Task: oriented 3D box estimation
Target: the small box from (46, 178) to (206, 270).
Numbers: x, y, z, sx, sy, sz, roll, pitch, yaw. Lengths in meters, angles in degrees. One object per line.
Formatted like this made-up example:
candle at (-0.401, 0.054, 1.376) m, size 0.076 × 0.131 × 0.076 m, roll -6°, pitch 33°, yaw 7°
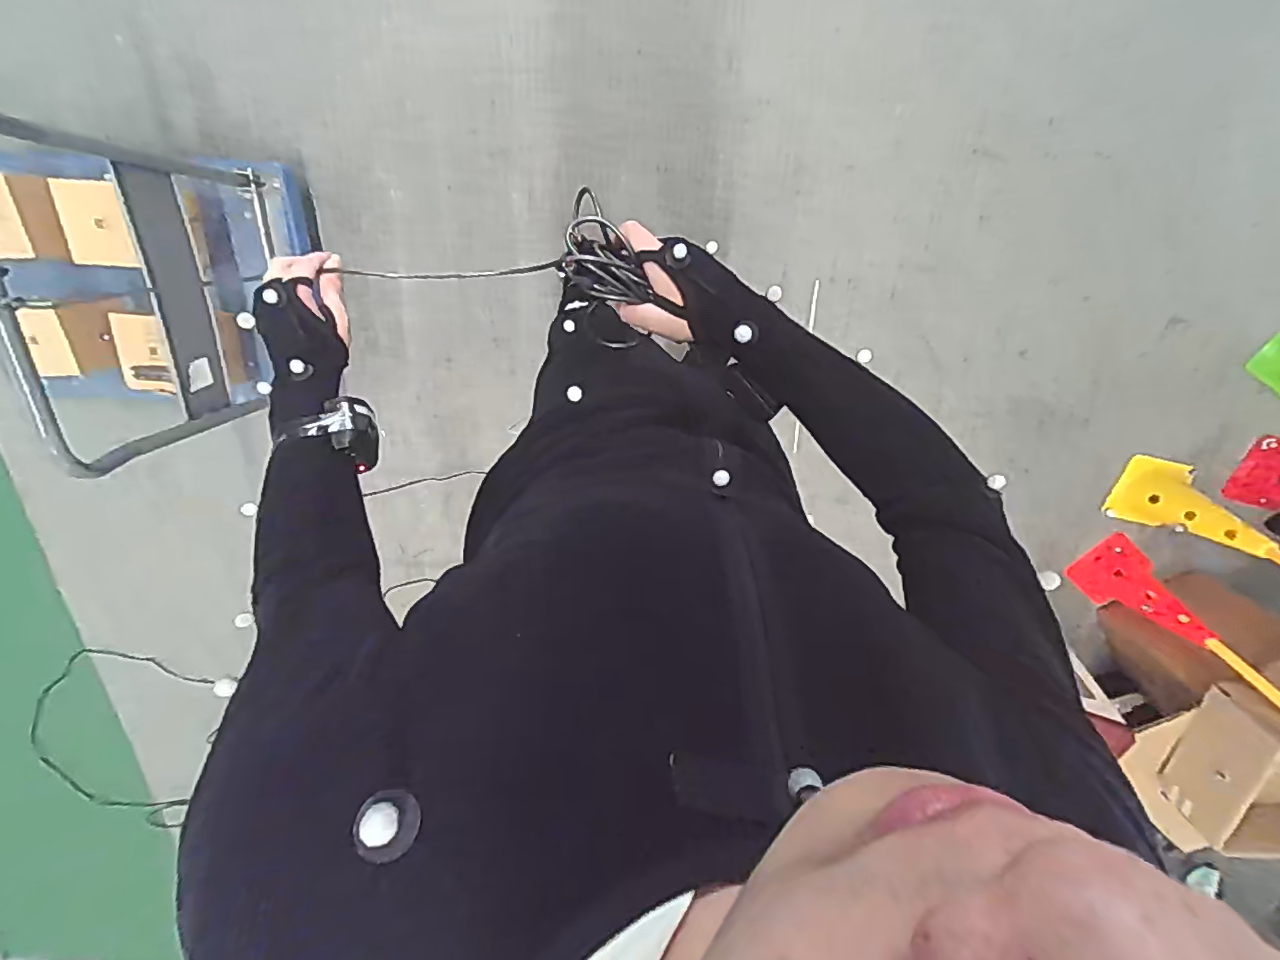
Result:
small box at (-1.130, -0.563, 1.204) m, size 0.179 × 0.176 × 0.168 m, roll 3°, pitch 112°, yaw 0°

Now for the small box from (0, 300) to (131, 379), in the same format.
small box at (-1.388, -0.341, 1.298) m, size 0.179 × 0.176 × 0.168 m, roll -1°, pitch 111°, yaw 2°

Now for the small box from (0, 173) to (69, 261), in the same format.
small box at (-1.386, -0.579, 1.203) m, size 0.179 × 0.176 × 0.168 m, roll 0°, pitch 112°, yaw 1°
